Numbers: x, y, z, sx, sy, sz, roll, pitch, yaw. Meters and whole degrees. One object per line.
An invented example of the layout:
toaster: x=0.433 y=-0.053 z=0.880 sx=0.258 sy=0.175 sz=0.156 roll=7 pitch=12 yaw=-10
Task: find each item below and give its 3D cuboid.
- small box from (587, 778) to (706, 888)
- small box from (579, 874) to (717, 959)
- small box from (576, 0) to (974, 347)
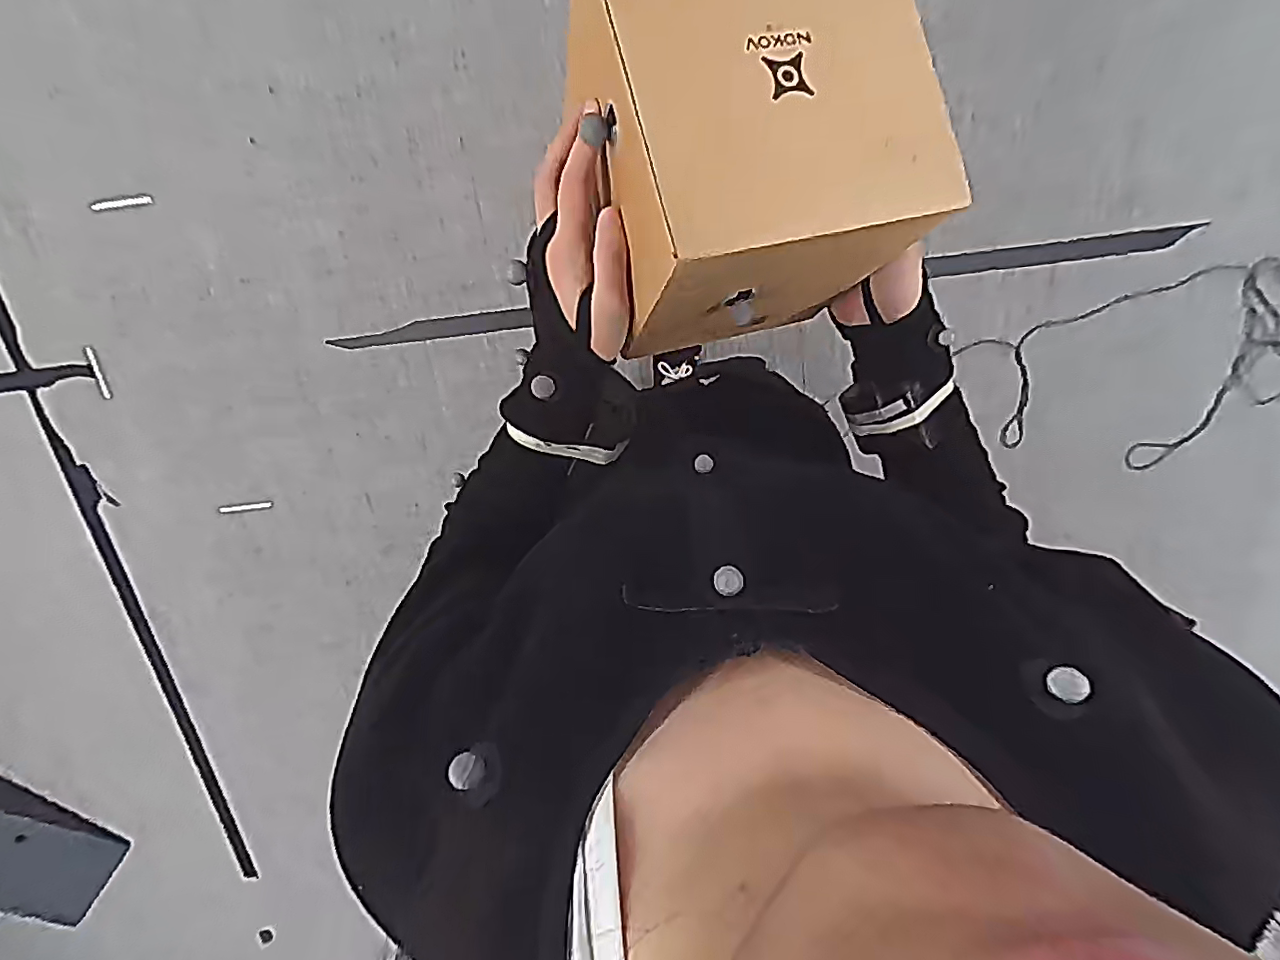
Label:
small box: x=0.015 y=0.596 z=0.833 sx=0.168 sy=0.176 sz=0.179 roll=-4 pitch=105 yaw=1
small box: x=0.013 y=0.636 z=0.674 sx=0.168 sy=0.176 sz=0.179 roll=-2 pitch=106 yaw=1
small box: x=0.061 y=-0.198 z=0.345 sx=0.168 sy=0.176 sz=0.179 roll=-15 pitch=89 yaw=-11
